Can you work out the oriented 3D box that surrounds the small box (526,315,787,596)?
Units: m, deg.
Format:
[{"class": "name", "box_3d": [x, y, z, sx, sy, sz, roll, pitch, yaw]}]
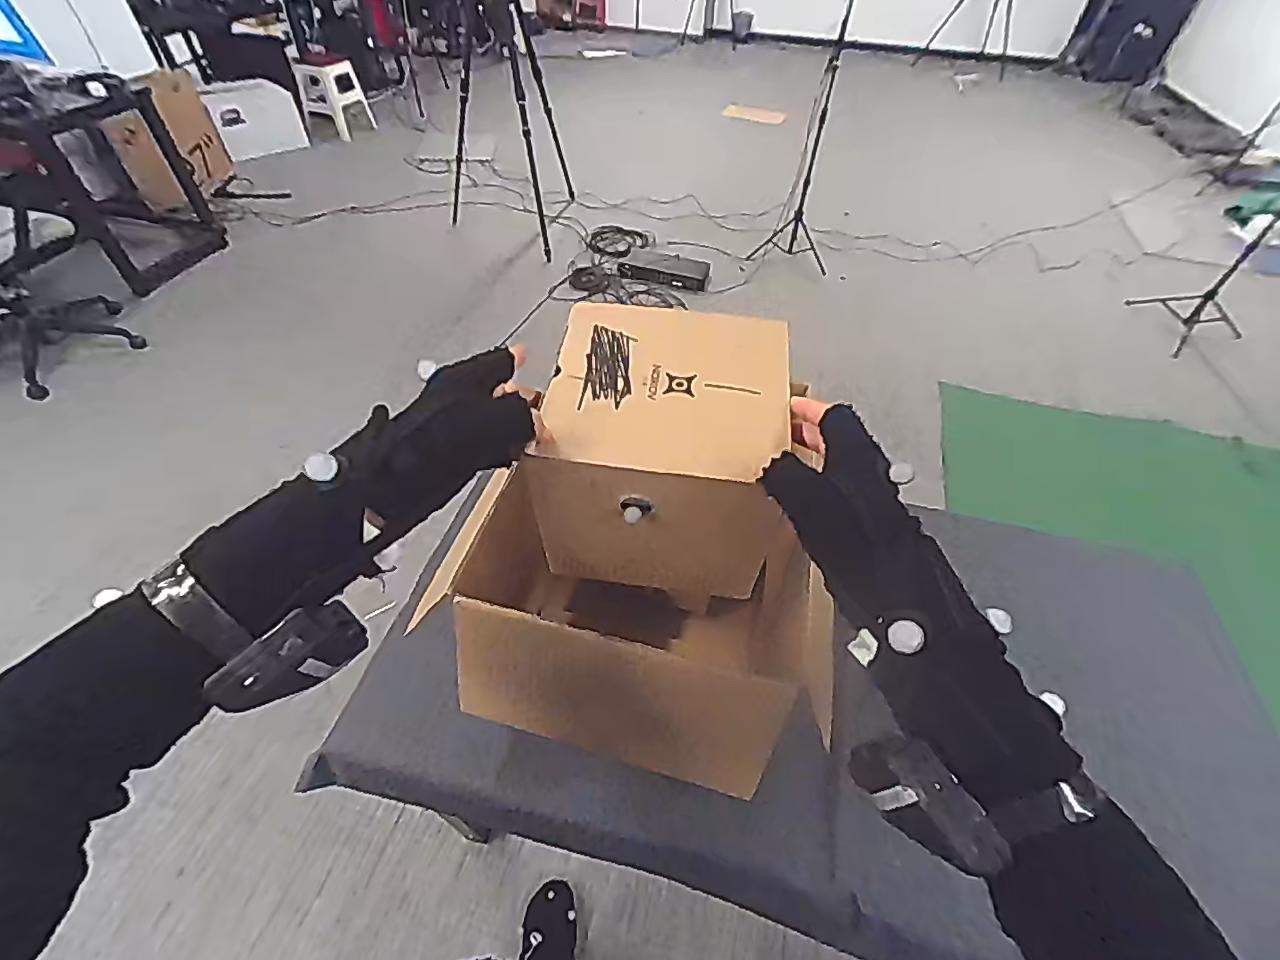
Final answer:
[{"class": "small box", "box_3d": [0.020, -0.015, 0.462, 0.179, 0.176, 0.168, 7, 54, 4]}]
